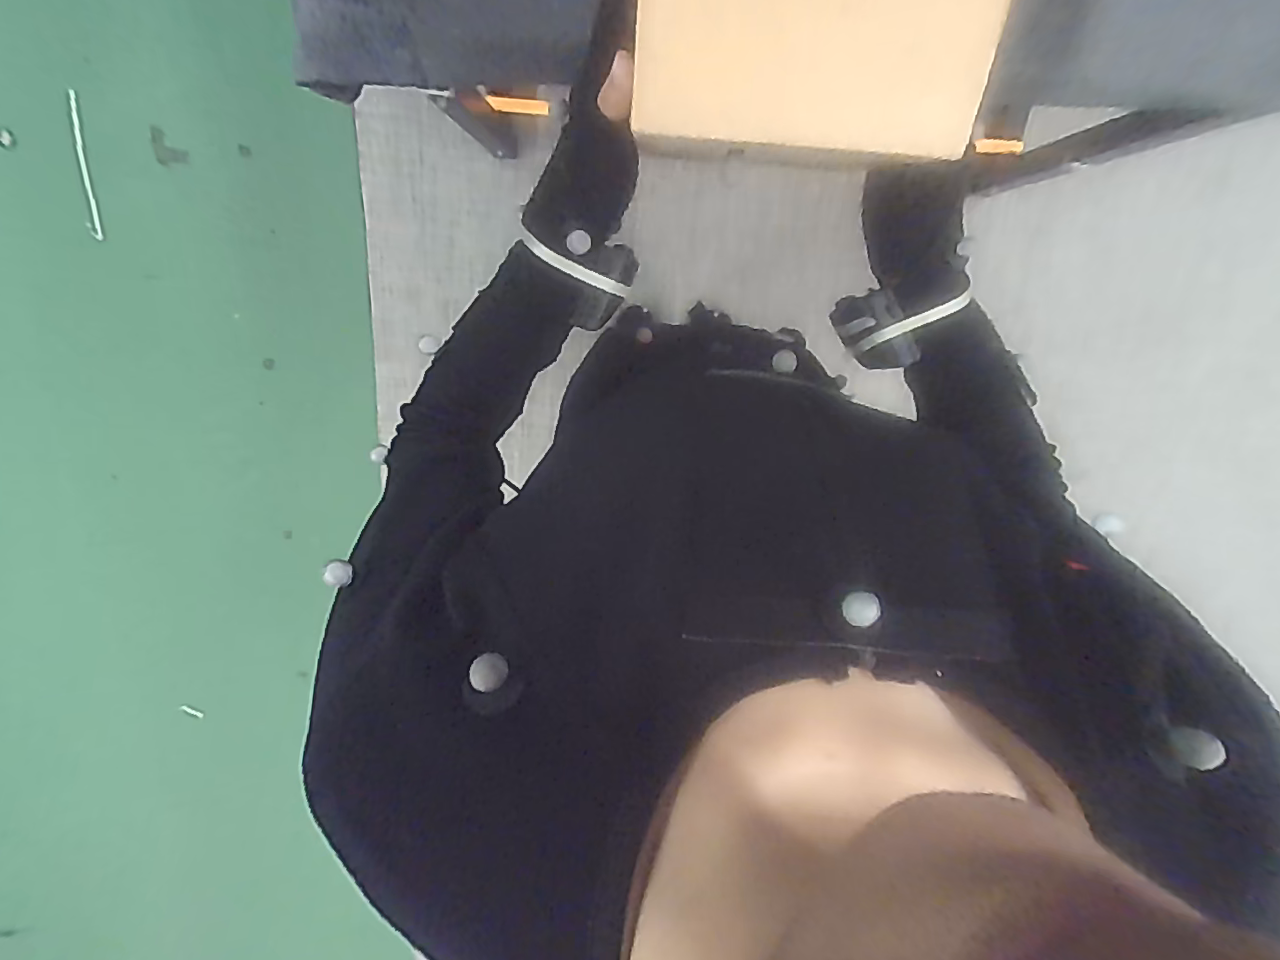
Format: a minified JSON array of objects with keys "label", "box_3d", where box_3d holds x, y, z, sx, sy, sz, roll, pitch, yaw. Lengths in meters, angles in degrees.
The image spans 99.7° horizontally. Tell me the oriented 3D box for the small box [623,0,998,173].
[{"label":"small box","box_3d":[0.084,-0.278,0.299,0.168,0.176,0.179,5,115,1]}]
